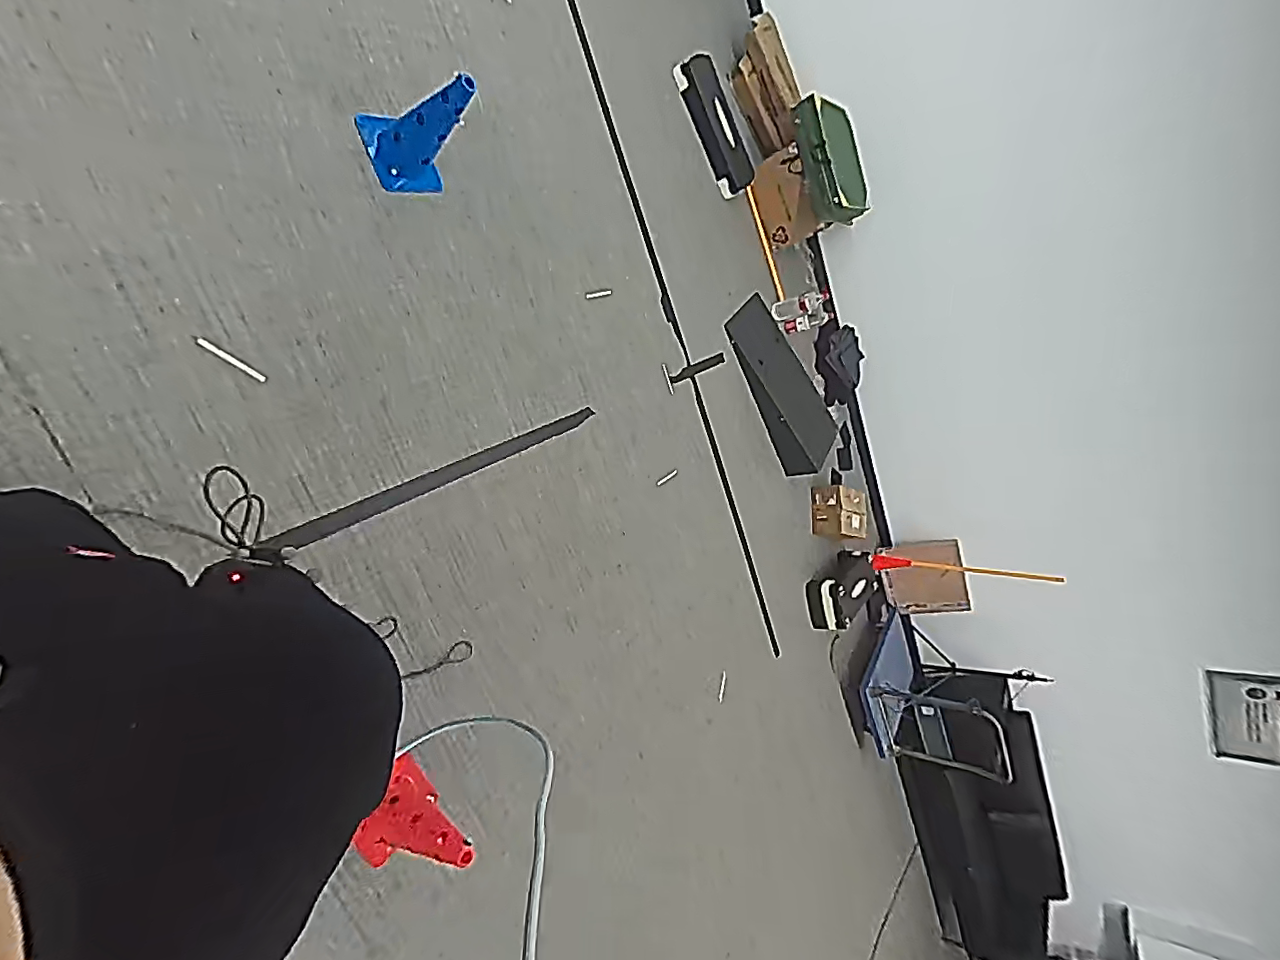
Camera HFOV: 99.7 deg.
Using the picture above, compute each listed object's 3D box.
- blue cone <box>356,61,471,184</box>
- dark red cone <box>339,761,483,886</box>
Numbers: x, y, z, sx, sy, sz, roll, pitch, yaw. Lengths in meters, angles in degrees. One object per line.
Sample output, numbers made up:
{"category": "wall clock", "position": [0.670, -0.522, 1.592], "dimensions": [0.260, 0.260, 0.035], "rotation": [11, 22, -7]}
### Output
{"category": "blue cone", "position": [-0.552, -0.946, 1.406], "dimensions": [0.193, 0.380, 0.192], "rotation": [-32, 108, -47]}
{"category": "dark red cone", "position": [-0.470, 0.801, 1.198], "dimensions": [0.202, 0.394, 0.201], "rotation": [-43, 115, -44]}
